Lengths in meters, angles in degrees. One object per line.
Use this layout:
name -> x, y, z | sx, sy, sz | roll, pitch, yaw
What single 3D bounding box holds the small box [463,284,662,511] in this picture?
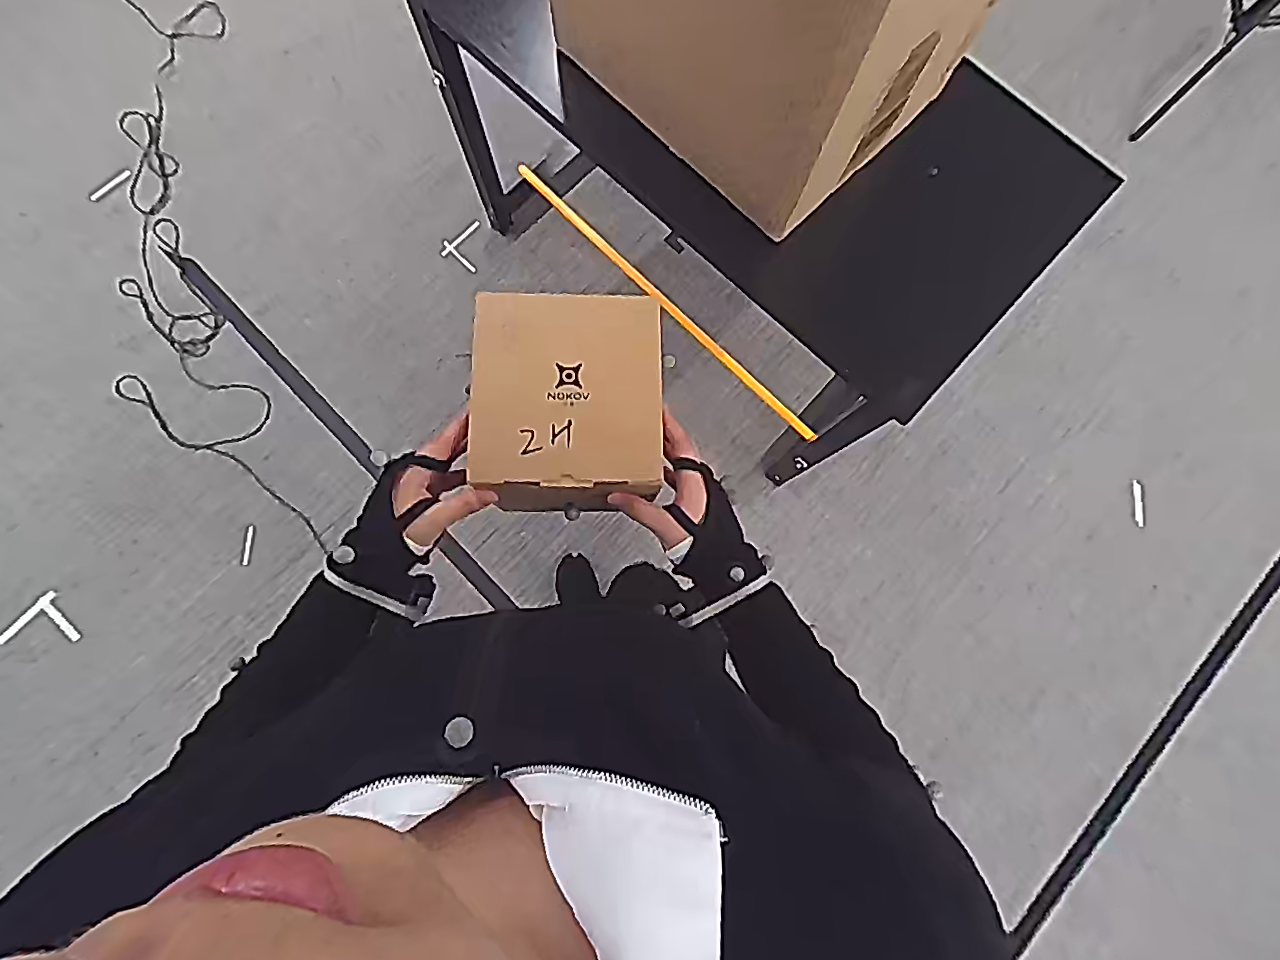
small box -> -0.069, -0.070, 0.541 | 0.168, 0.176, 0.179 | 0, 78, -4
